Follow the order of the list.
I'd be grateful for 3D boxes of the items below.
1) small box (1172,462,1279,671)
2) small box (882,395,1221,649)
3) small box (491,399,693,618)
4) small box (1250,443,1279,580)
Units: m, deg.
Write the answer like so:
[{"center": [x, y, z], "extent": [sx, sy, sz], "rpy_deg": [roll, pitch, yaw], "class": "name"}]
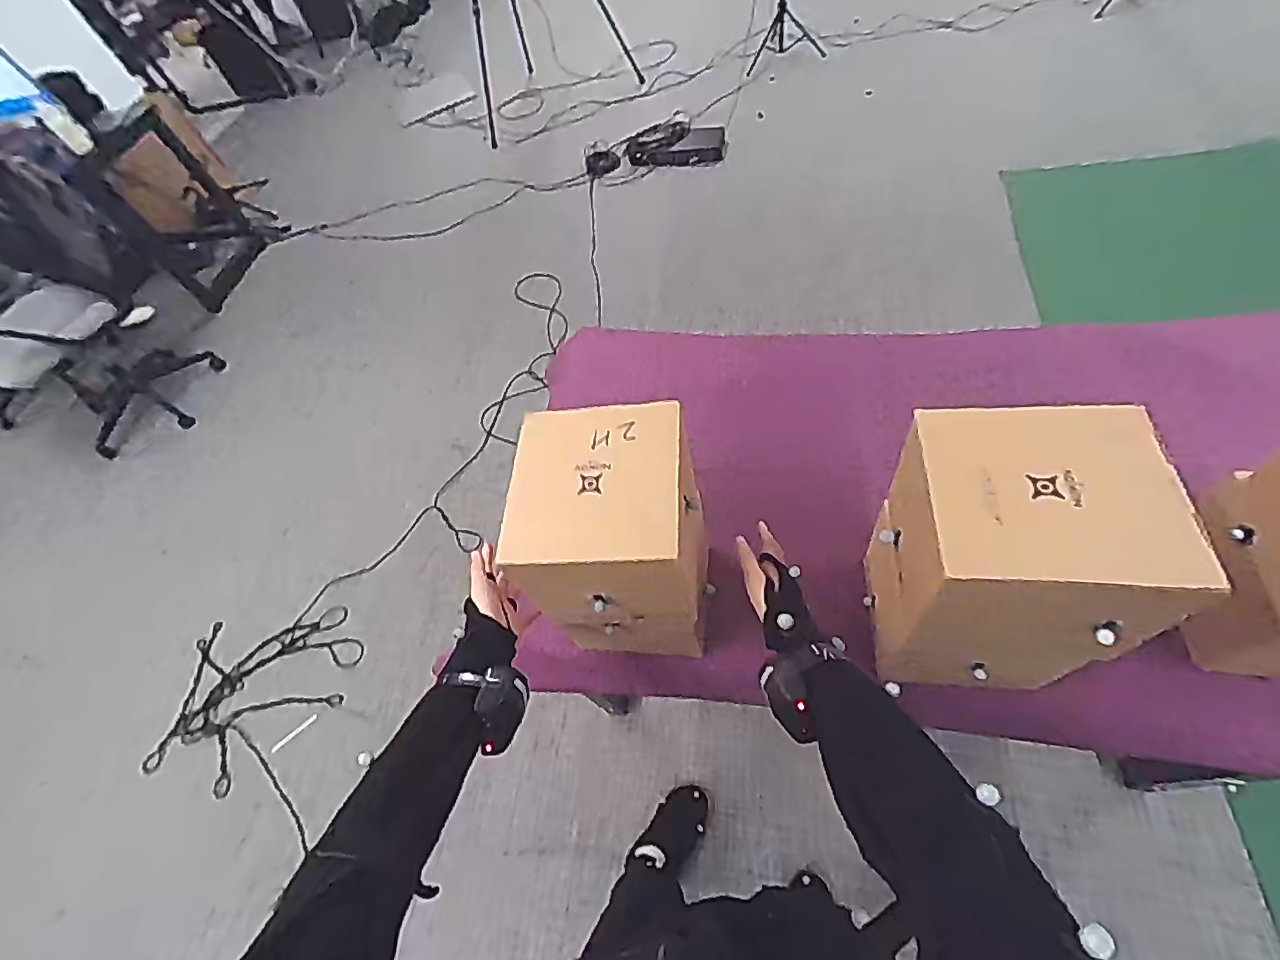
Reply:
[{"center": [0.700, 0.096, 0.560], "extent": [0.179, 0.176, 0.168], "rpy_deg": [0, 56, 14], "class": "small box"}, {"center": [0.330, 0.043, 0.484], "extent": [0.179, 0.176, 0.168], "rpy_deg": [0, 55, 15], "class": "small box"}, {"center": [-0.034, 0.039, 0.574], "extent": [0.168, 0.176, 0.179], "rpy_deg": [-3, 56, 10], "class": "small box"}, {"center": [0.651, 0.022, 0.421], "extent": [0.168, 0.176, 0.179], "rpy_deg": [6, 59, 19], "class": "small box"}]
